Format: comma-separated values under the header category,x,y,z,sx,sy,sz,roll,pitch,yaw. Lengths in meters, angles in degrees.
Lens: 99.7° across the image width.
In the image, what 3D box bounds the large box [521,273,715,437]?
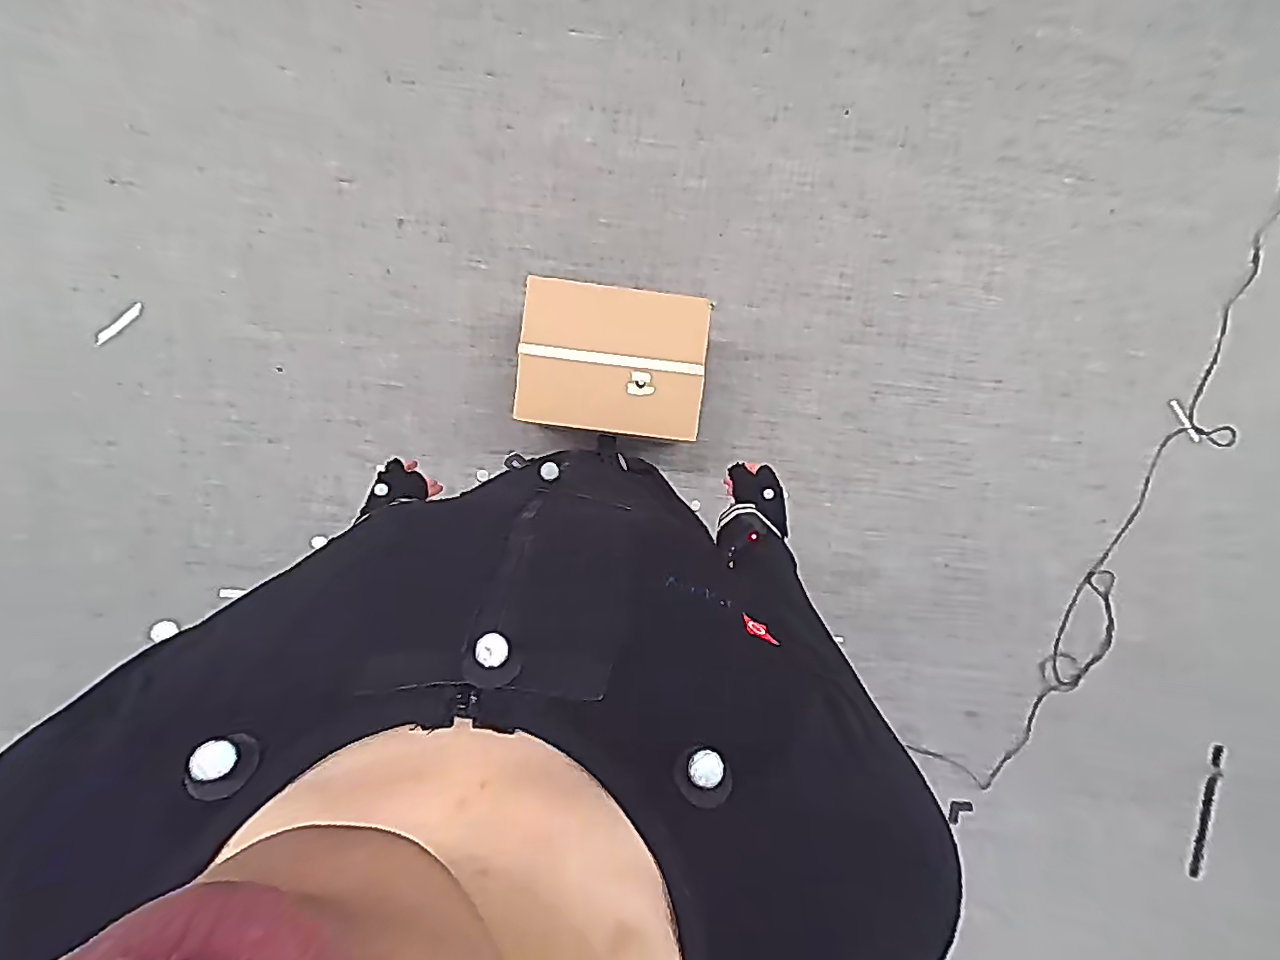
category,x,y,z,sx,sy,sz,roll,pitch,yaw
large box,-0.057,-0.280,1.318,0.408,0.320,0.320,6,94,-3
